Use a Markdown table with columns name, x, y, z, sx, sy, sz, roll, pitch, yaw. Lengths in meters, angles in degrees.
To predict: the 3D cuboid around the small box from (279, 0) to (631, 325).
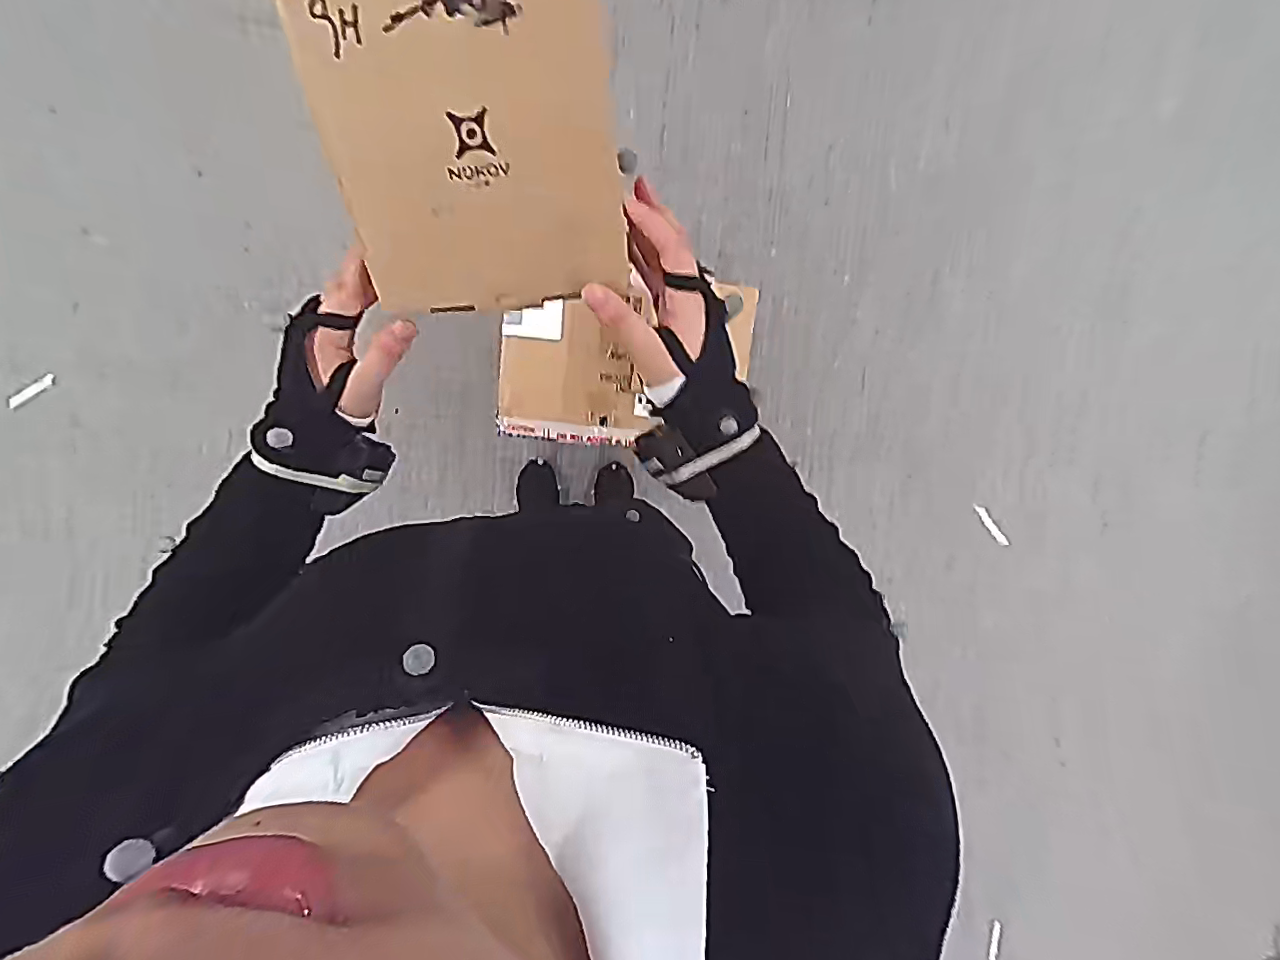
| name | x | y | z | sx | sy | sz | roll | pitch | yaw |
| --- | --- | --- | --- | --- | --- | --- | --- | --- | --- |
| small box | -0.094 | -0.224 | 0.374 | 0.168 | 0.176 | 0.179 | -6 | 123 | 1 |

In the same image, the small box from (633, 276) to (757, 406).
| name | x | y | z | sx | sy | sz | roll | pitch | yaw |
| --- | --- | --- | --- | --- | --- | --- | --- | --- | --- |
| small box | 0.085 | -0.226 | 0.926 | 0.168 | 0.176 | 0.179 | 7 | 95 | -8 |
